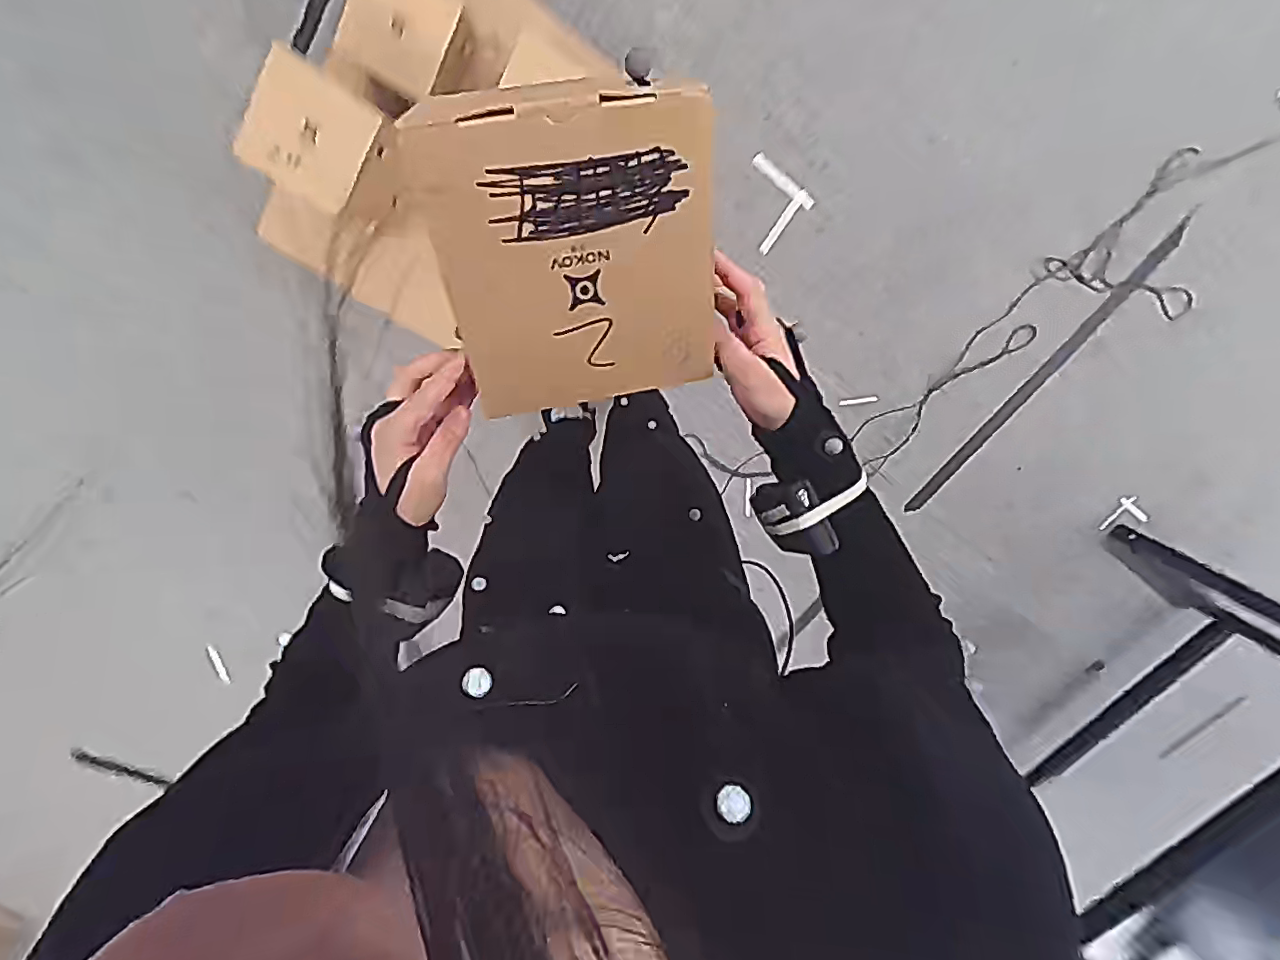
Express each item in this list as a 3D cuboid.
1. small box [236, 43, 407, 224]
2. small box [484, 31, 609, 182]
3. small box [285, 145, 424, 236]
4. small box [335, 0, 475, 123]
[{"bbox_3d":[-0.509,-0.552,0.893,0.168,0.176,0.179,30,106,-17],"label":"small box"},{"bbox_3d":[-0.178,-0.708,1.053,0.179,0.176,0.168,27,107,-17],"label":"small box"},{"bbox_3d":[-0.542,-0.598,1.050,0.168,0.176,0.179,26,108,-17],"label":"small box"},{"bbox_3d":[-0.415,-0.797,0.986,0.168,0.176,0.179,26,108,-16],"label":"small box"}]
